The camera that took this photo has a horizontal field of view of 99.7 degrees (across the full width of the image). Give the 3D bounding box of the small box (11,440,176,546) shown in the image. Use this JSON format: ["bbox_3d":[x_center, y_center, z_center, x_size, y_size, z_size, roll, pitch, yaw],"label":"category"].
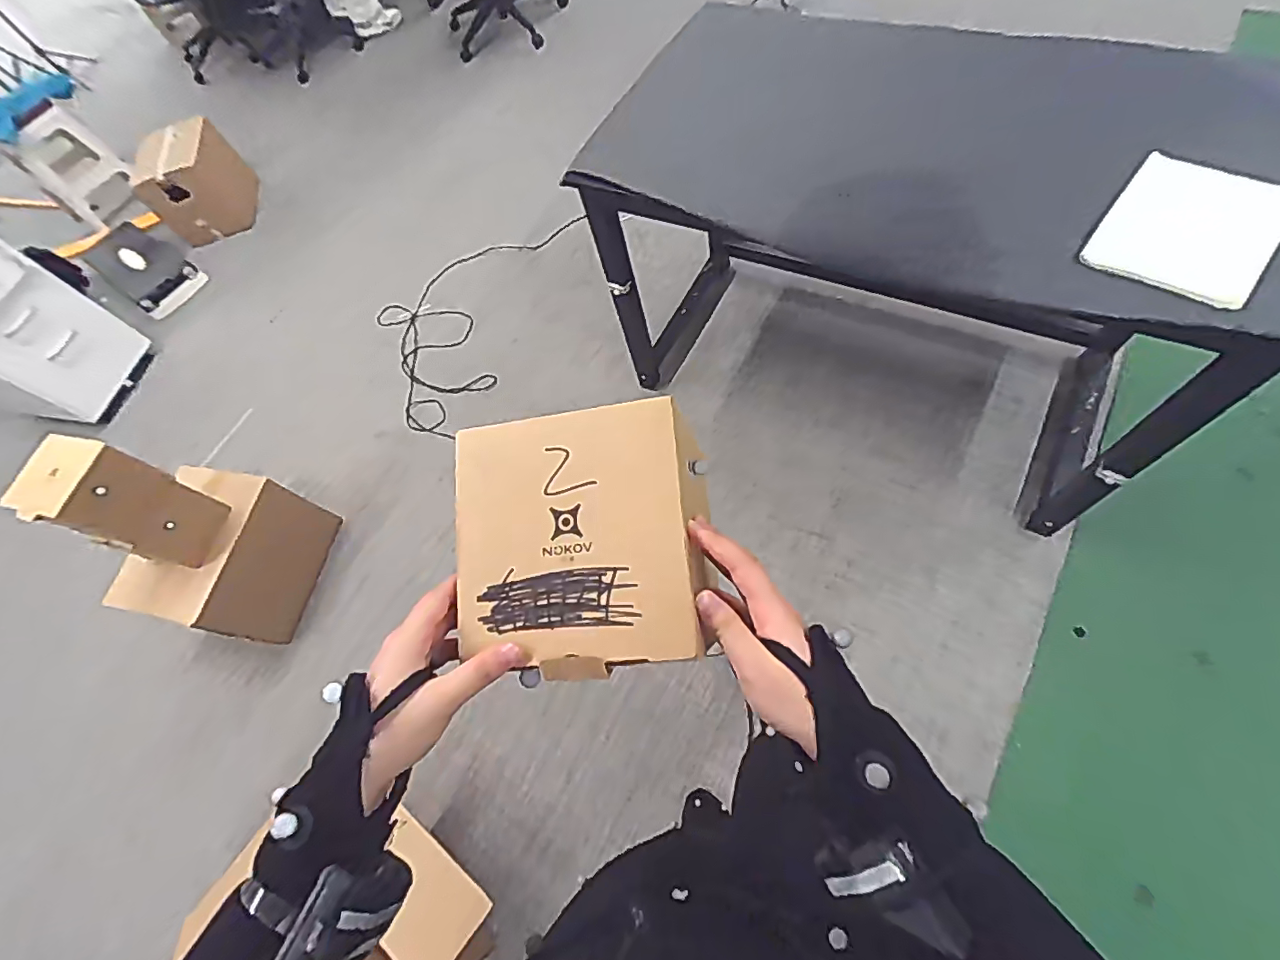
[{"bbox_3d":[-1.208,0.032,1.216,0.168,0.176,0.179,7,67,14],"label":"small box"}]

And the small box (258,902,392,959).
[{"bbox_3d":[-0.591,0.917,0.973,0.168,0.176,0.179,23,71,18],"label":"small box"}]

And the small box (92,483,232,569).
[{"bbox_3d":[-1.183,0.113,1.355,0.168,0.176,0.179,7,66,14],"label":"small box"}]
